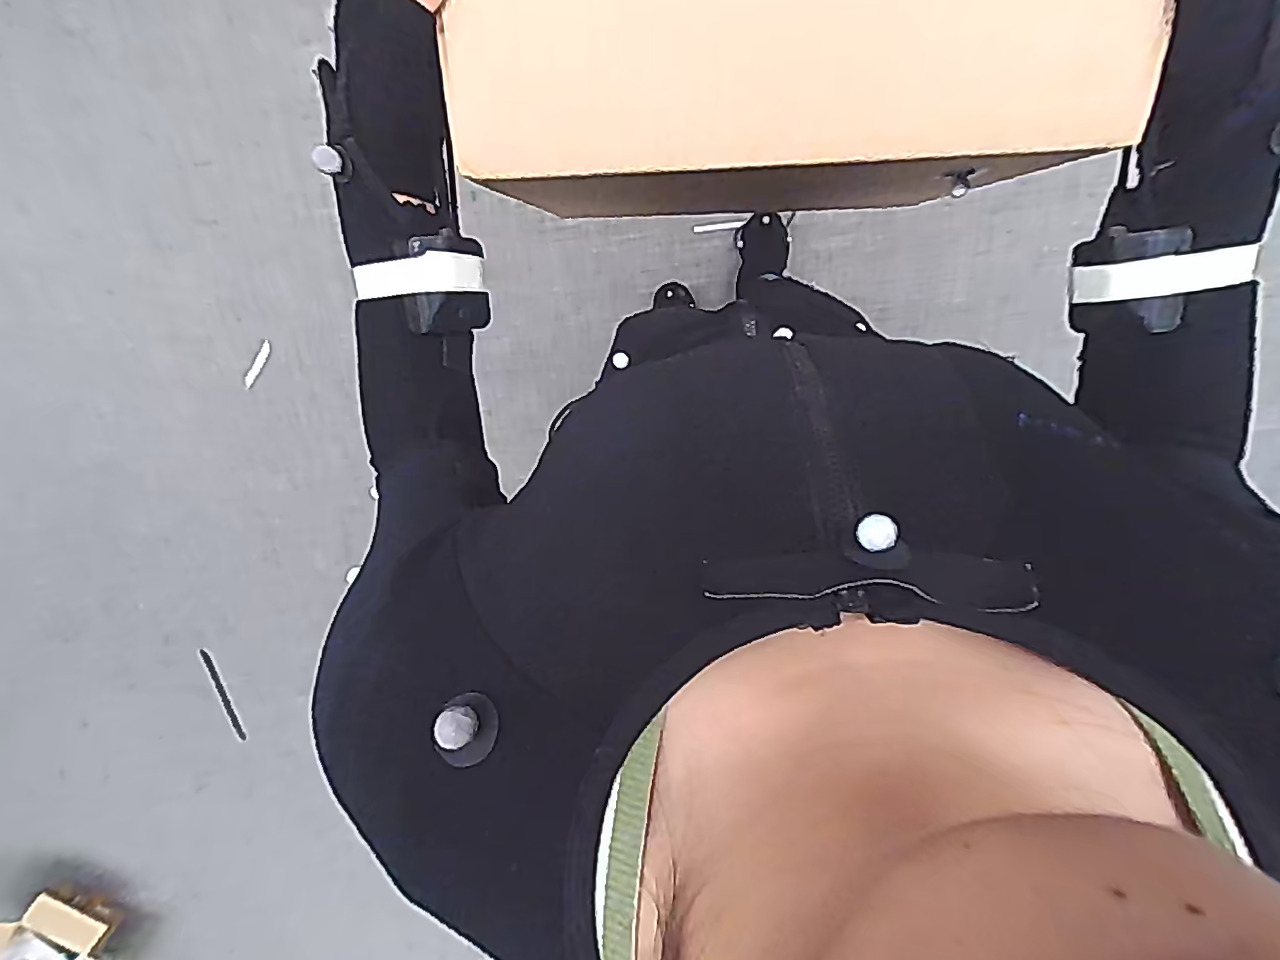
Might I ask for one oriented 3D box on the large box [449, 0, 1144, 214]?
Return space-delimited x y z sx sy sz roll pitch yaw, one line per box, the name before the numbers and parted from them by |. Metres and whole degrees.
large box | 0.092 -0.398 0.423 0.408 0.320 0.320 -1 111 4
